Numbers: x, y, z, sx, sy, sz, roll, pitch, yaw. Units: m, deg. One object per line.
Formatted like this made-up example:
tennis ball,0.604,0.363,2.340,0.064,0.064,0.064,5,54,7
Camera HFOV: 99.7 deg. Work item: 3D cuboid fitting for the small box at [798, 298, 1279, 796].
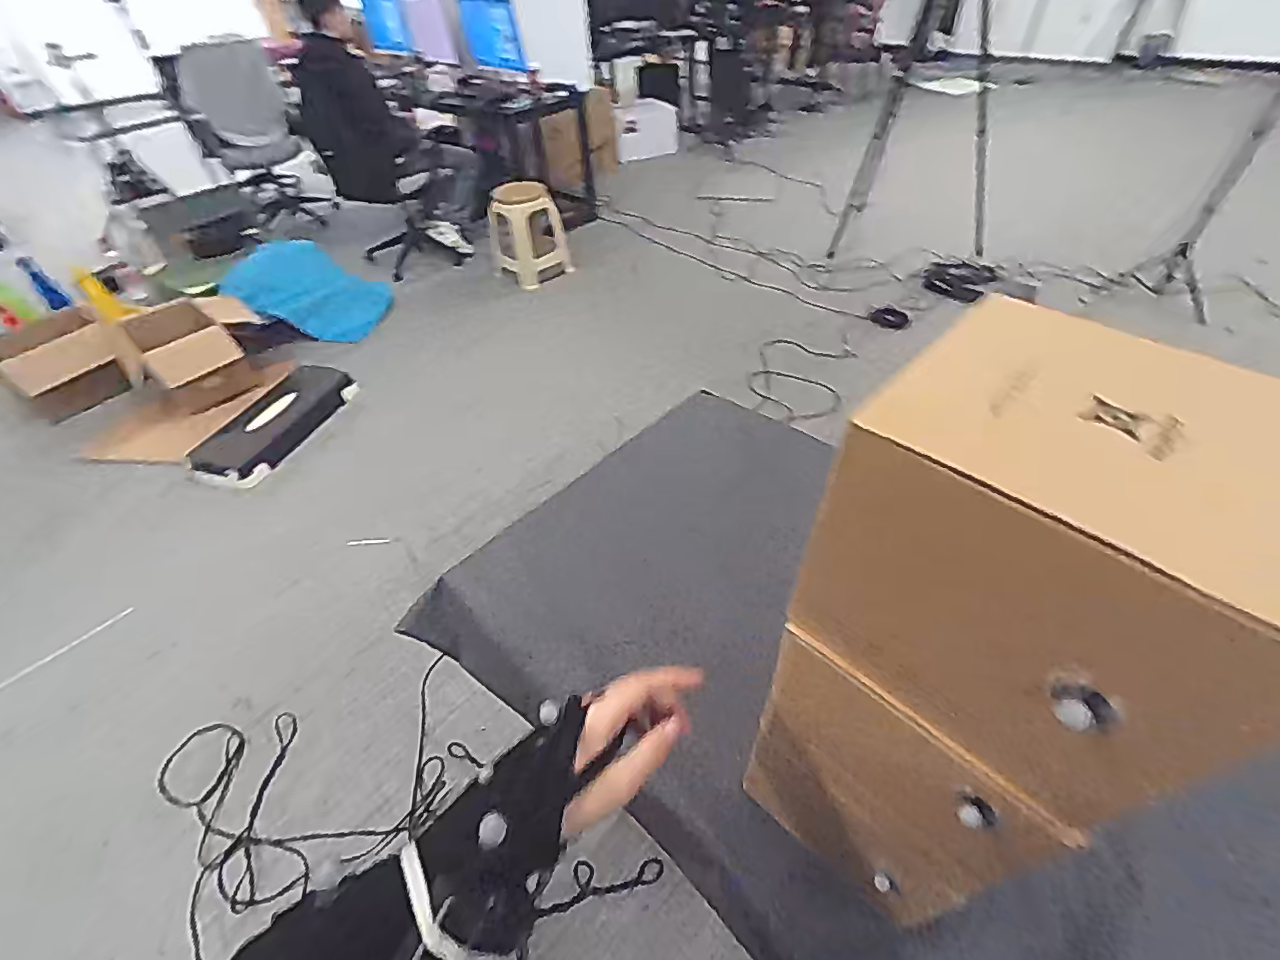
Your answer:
small box,0.212,0.033,0.290,0.179,0.176,0.168,34,54,32

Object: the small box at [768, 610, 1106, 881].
small box,0.216,0.151,0.402,0.179,0.176,0.168,34,56,31
